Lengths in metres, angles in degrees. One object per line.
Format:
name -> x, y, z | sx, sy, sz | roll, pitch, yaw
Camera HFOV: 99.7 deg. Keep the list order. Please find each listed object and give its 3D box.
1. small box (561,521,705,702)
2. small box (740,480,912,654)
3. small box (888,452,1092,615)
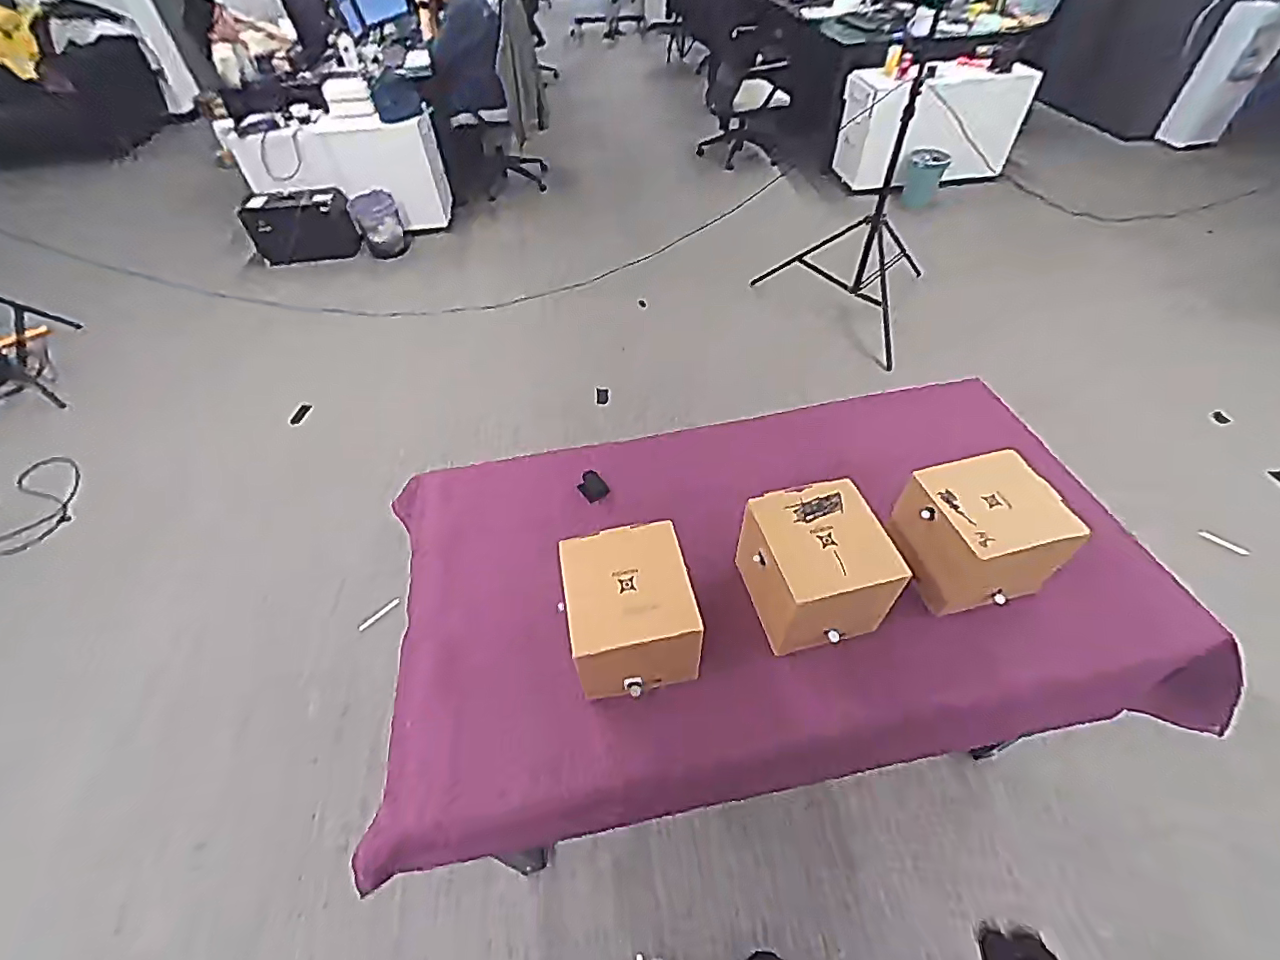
small box -> -0.013, 0.187, 0.770 | 0.168, 0.176, 0.179 | -11, 50, -6
small box -> 0.259, 0.130, 0.805 | 0.168, 0.176, 0.179 | -12, 50, -7
small box -> 0.517, 0.084, 0.833 | 0.179, 0.176, 0.168 | -11, 49, -7
